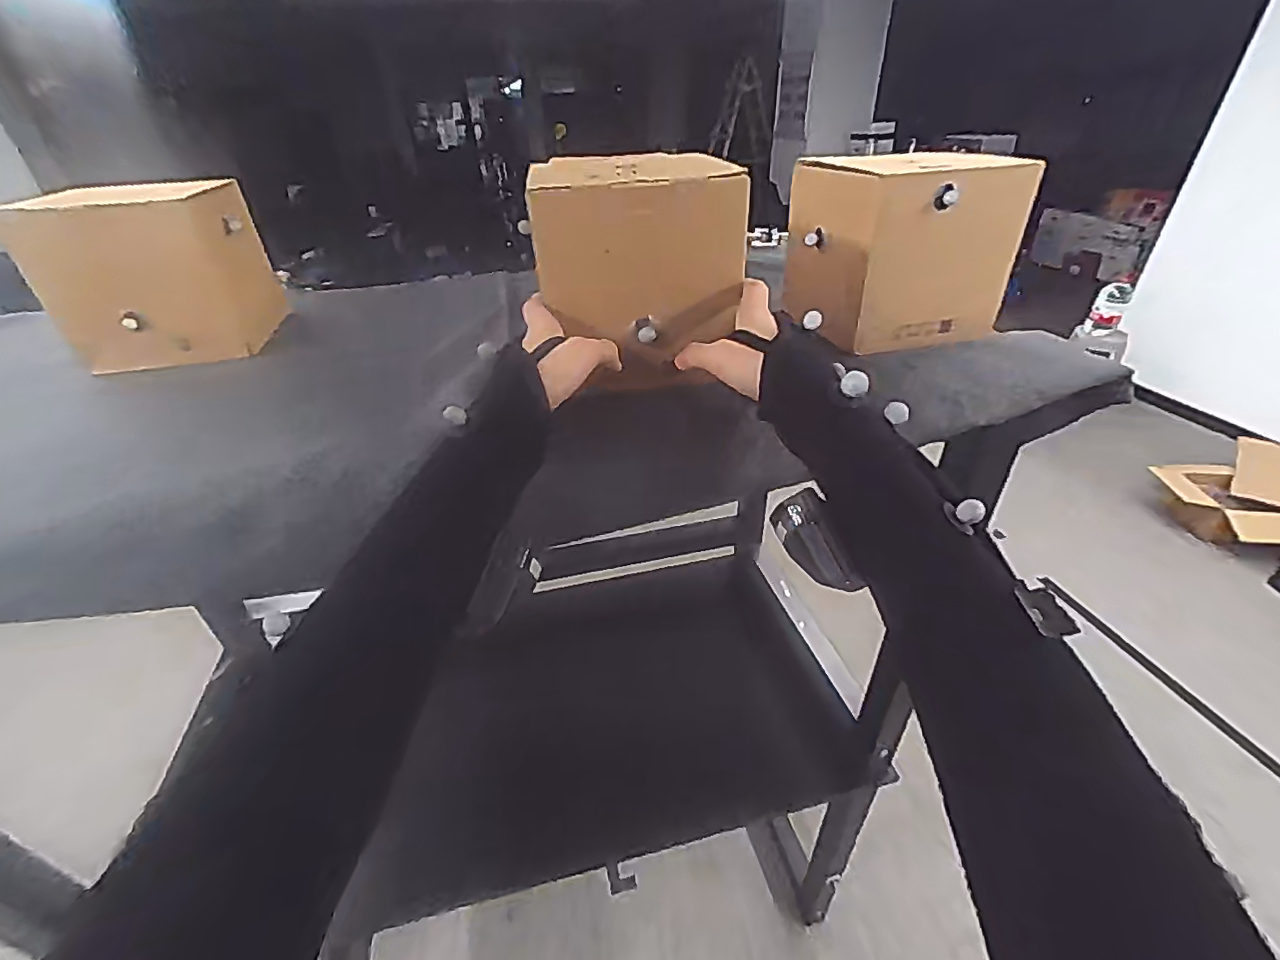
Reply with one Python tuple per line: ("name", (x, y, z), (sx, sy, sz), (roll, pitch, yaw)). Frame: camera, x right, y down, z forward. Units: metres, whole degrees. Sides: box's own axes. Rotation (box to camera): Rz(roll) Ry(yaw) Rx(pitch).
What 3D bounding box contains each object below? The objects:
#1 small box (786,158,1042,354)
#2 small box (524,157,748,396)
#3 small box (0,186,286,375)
("small box", (0.273, -0.248, 0.591), (0.168, 0.176, 0.179), (-9, 34, -9))
("small box", (-0.008, -0.193, 0.501), (0.168, 0.176, 0.179), (-6, 35, -4))
("small box", (-0.548, -0.238, 0.633), (0.168, 0.176, 0.179), (-11, 36, -12))
